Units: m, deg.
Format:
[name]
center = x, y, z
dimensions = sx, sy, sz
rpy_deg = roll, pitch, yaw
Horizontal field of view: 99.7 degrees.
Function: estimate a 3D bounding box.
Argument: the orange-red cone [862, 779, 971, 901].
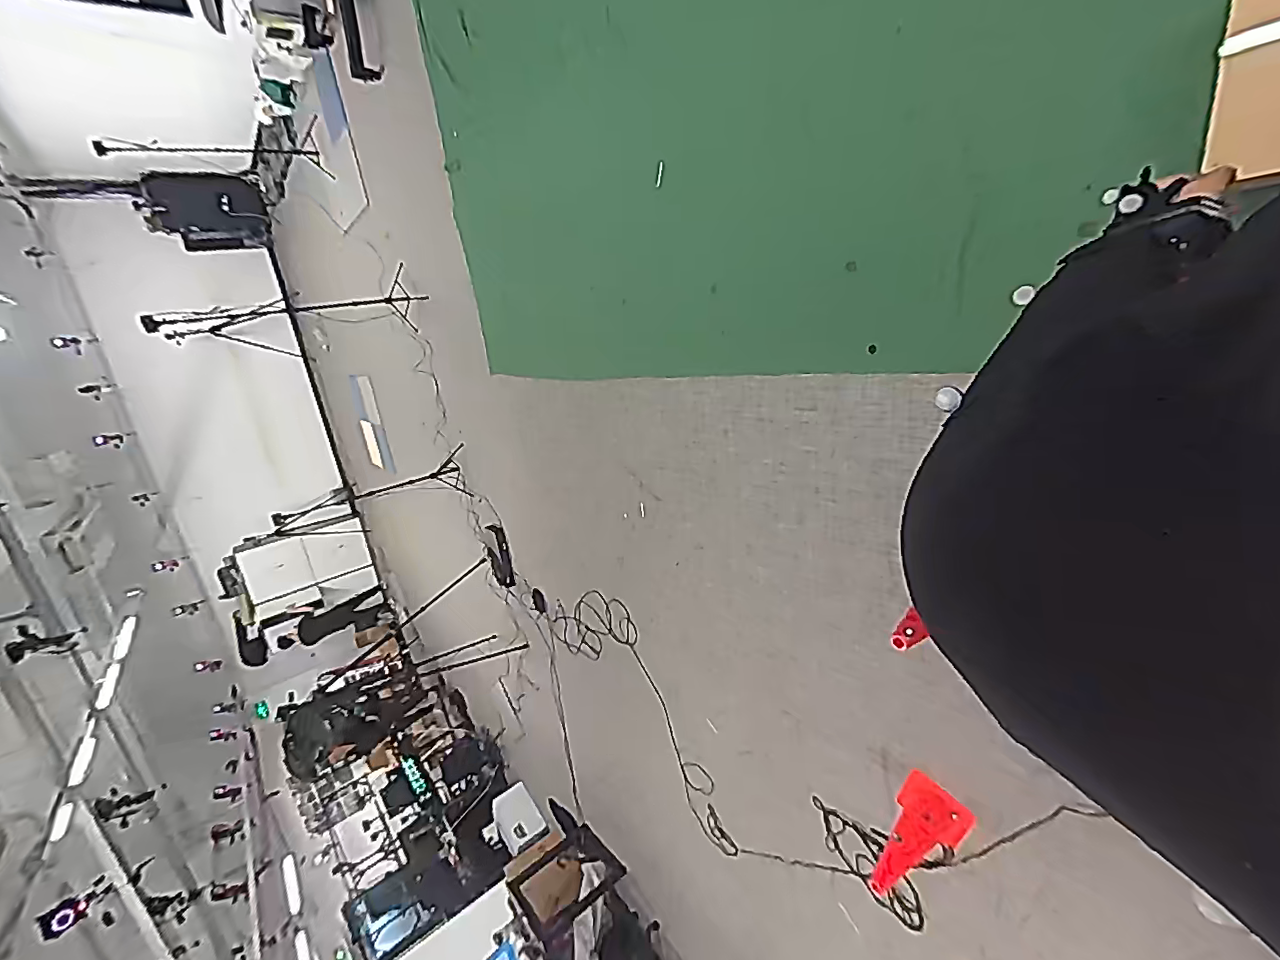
[orange-red cone]
center = 0.767, 1.099, 1.590
dimensions = 0.199, 0.360, 0.198
rpy_deg = 38, 133, 40
